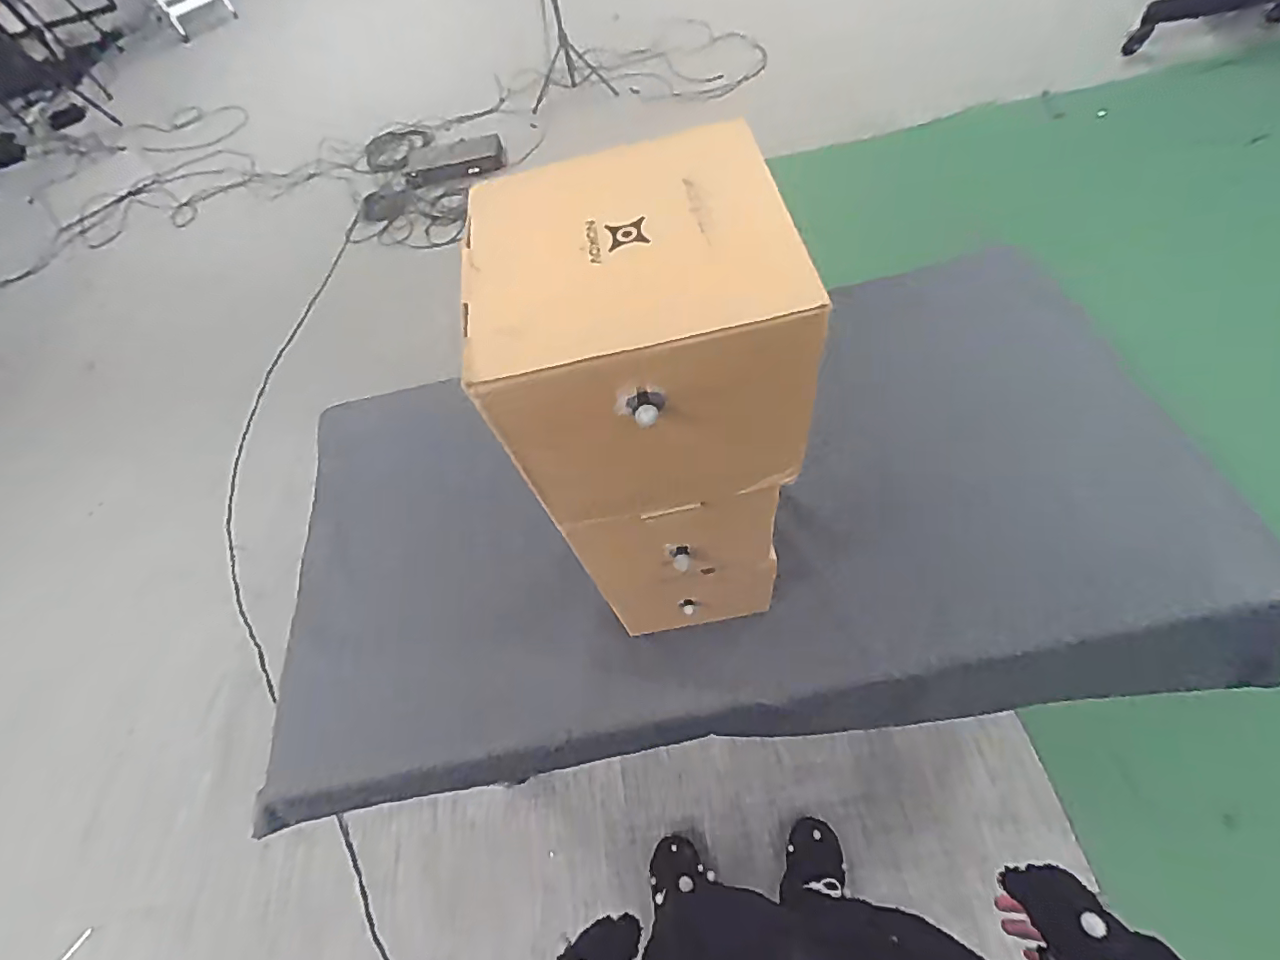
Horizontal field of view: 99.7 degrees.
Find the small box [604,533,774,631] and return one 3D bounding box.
[{"bbox_3d":[0.051,0.070,0.654,0.179,0.176,0.168,-12,58,4],"label":"small box"}]

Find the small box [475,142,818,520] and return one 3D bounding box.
[{"bbox_3d":[0.004,-0.088,0.373,0.179,0.176,0.168,-11,60,3],"label":"small box"}]

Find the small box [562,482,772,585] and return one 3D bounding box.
[{"bbox_3d":[0.021,-0.011,0.515,0.168,0.176,0.179,-13,59,3],"label":"small box"}]
